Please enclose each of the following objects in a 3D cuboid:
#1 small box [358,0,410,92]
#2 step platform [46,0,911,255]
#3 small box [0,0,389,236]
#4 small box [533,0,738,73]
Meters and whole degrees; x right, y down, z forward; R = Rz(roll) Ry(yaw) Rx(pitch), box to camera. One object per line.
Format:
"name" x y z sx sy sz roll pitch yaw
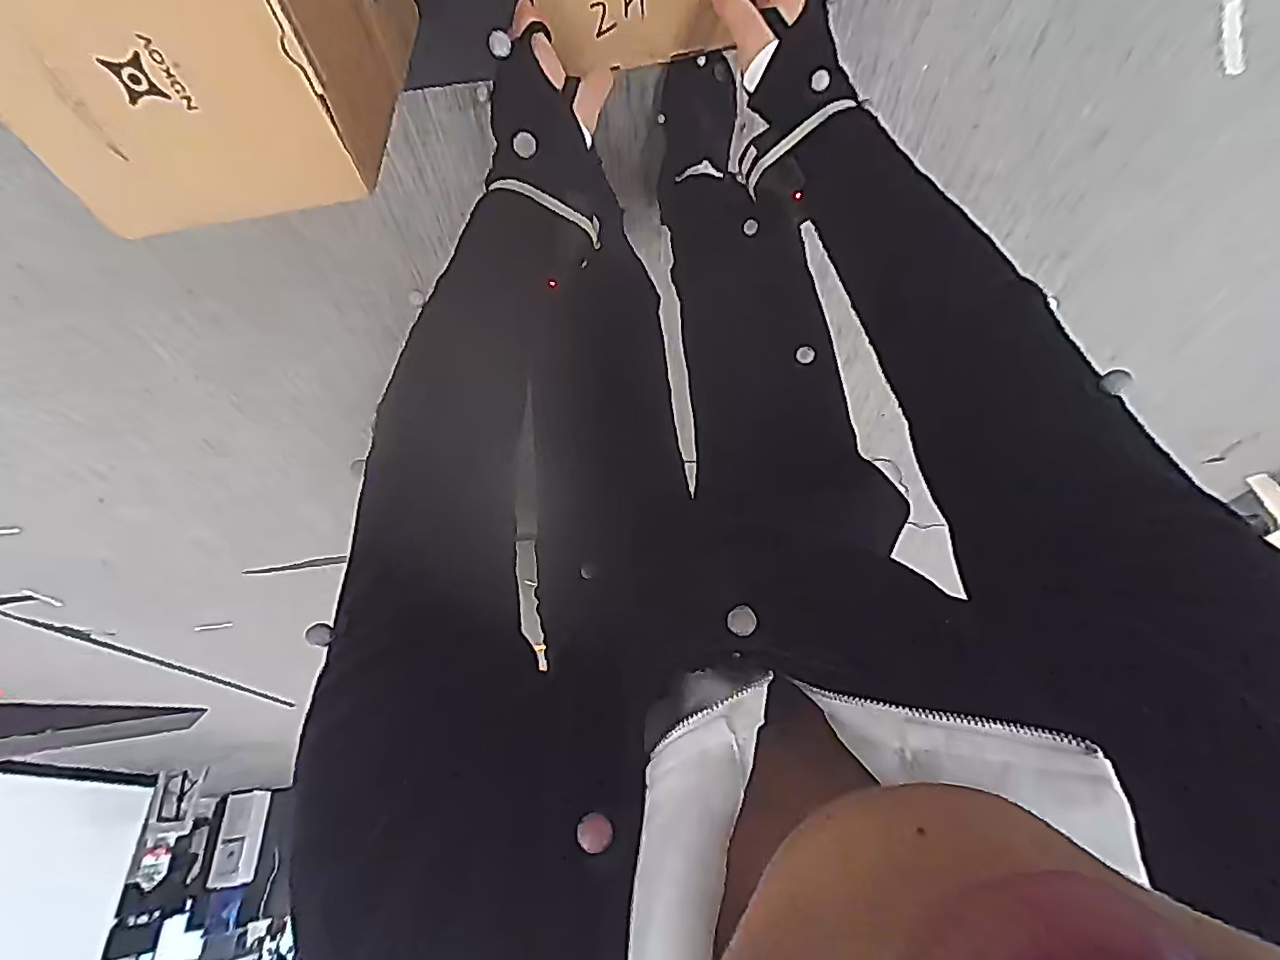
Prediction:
"small box" -0.303 -0.428 0.434 0.179 0.176 0.168 -9 147 1
"step platform" -0.138 -0.402 0.446 0.684 0.204 0.286 -9 147 -1
"small box" -0.281 -0.292 0.346 0.179 0.176 0.168 -10 146 1
"small box" -0.016 -0.472 0.433 0.168 0.176 0.179 -8 147 2
